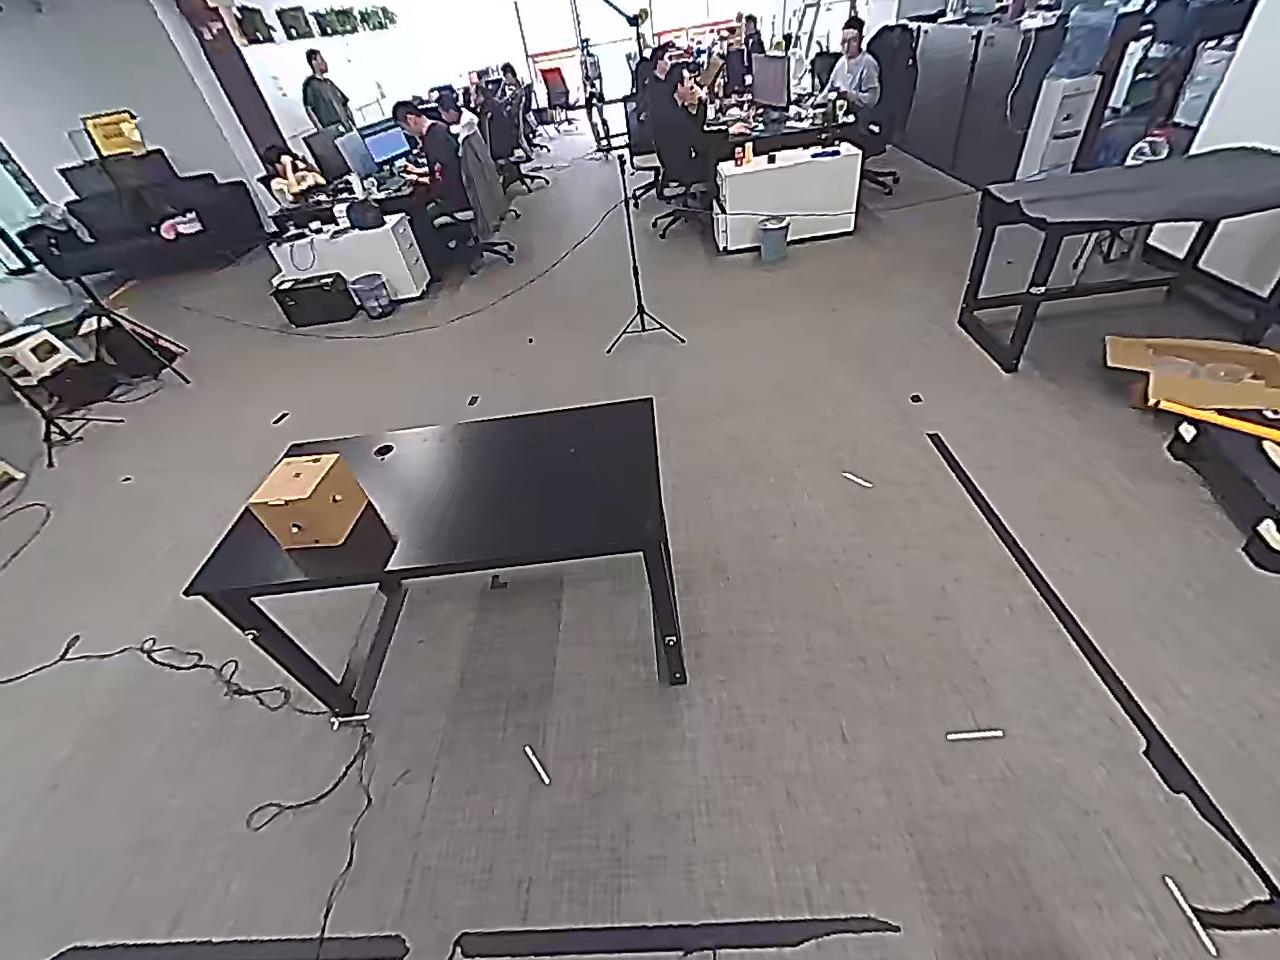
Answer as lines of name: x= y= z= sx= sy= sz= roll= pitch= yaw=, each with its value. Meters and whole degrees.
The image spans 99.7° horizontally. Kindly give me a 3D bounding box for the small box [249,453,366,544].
small box: x=-0.850 y=0.054 z=1.407 sx=0.168 sy=0.176 sz=0.179 roll=-4 pitch=42 yaw=7
